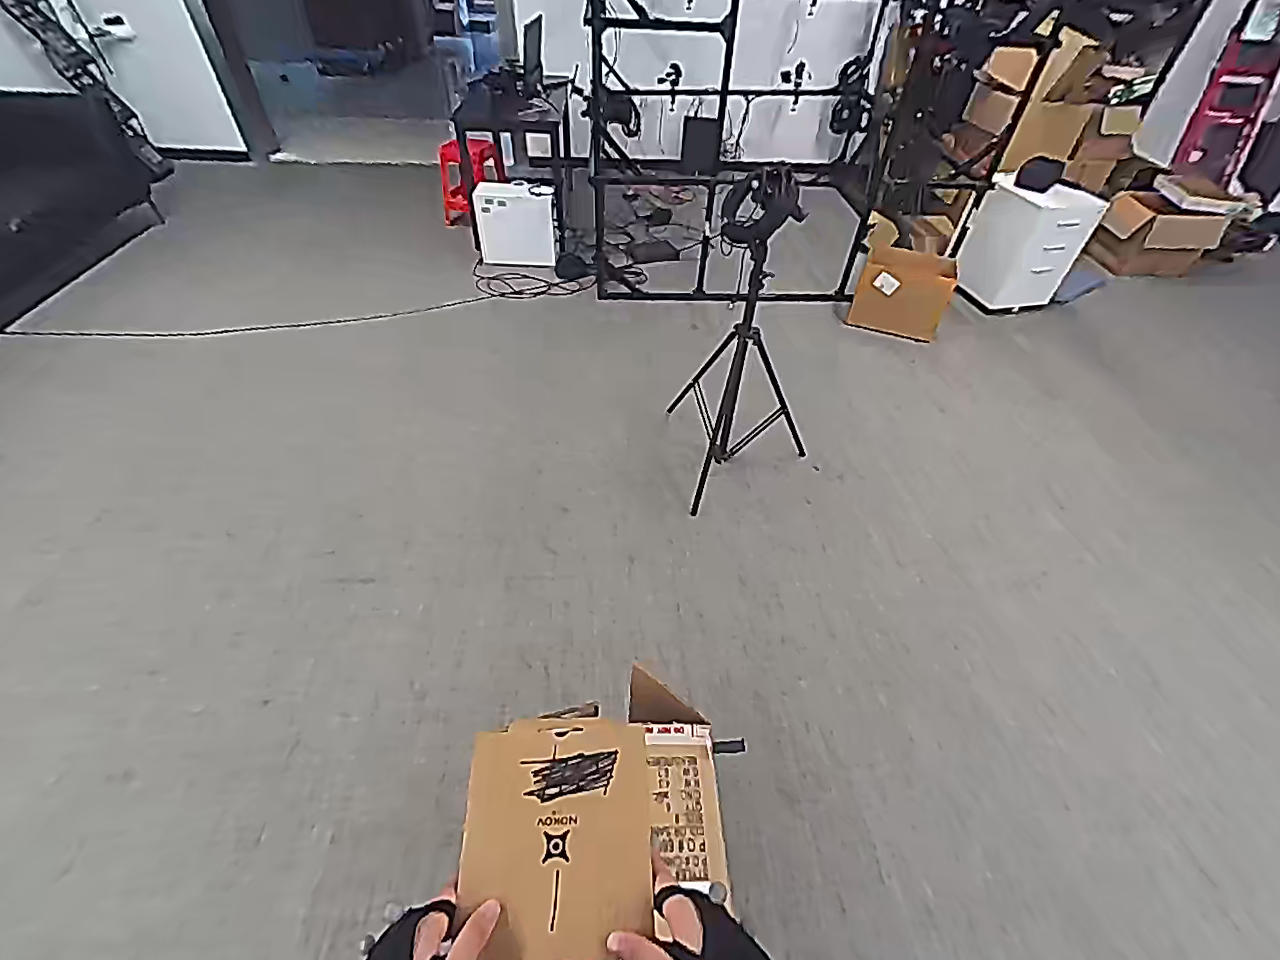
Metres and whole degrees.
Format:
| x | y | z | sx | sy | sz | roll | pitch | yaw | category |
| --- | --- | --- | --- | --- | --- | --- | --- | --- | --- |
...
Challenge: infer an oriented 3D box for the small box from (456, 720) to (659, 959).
| x | y | z | sx | sy | sz | roll | pitch | yaw | category |
| --- | --- | --- | --- | --- | --- | --- | --- | --- | --- |
| -0.073 | 0.357 | 0.545 | 0.168 | 0.176 | 0.179 | -1 | 54 | -4 | small box |
